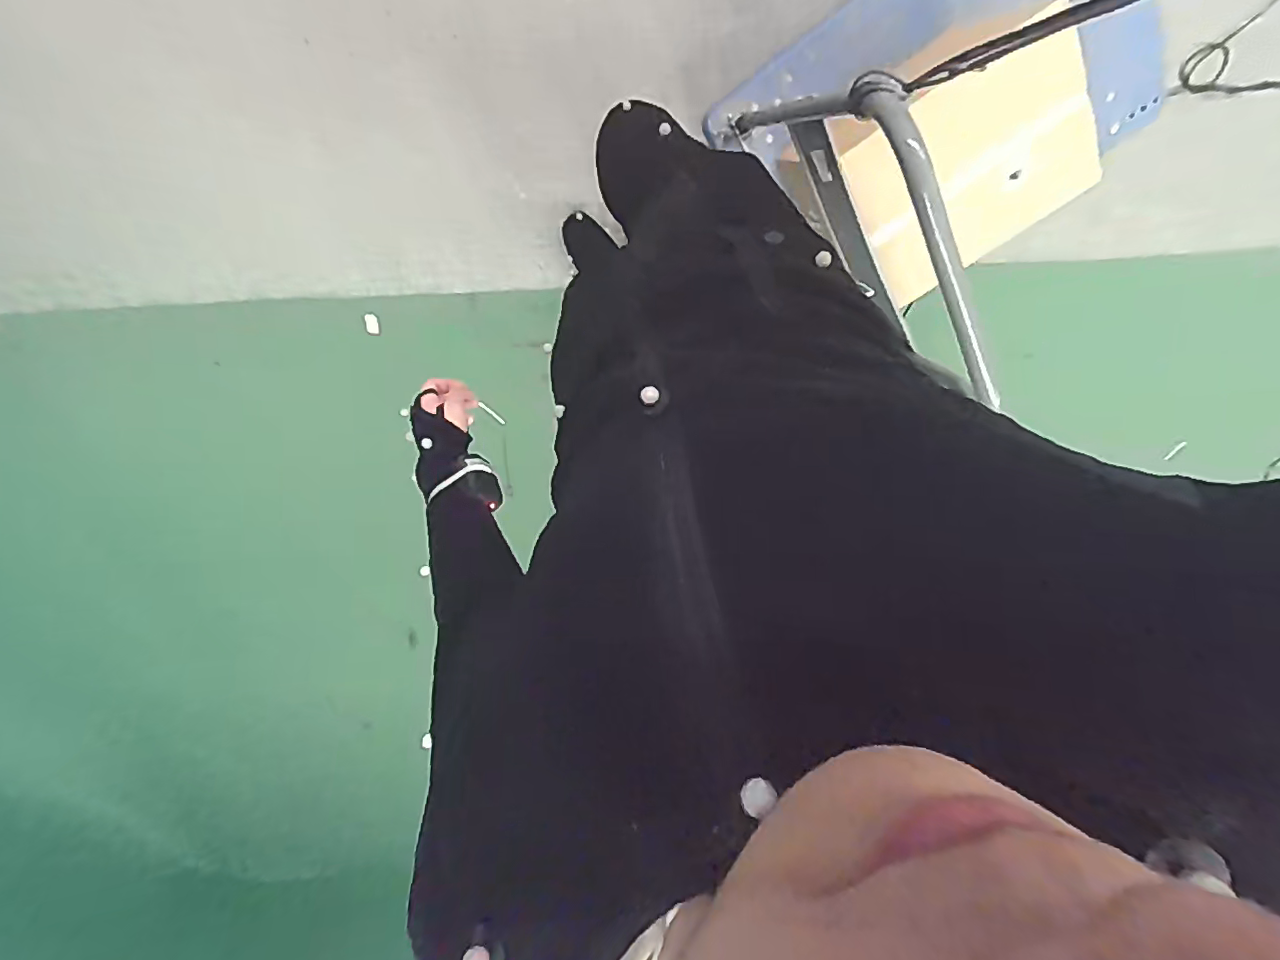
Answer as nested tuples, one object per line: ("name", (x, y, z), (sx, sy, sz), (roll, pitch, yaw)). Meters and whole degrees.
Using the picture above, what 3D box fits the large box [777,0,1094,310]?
("large box", (0.549, -0.611, 1.064), (0.408, 0.320, 0.320), (-32, 120, 13))
